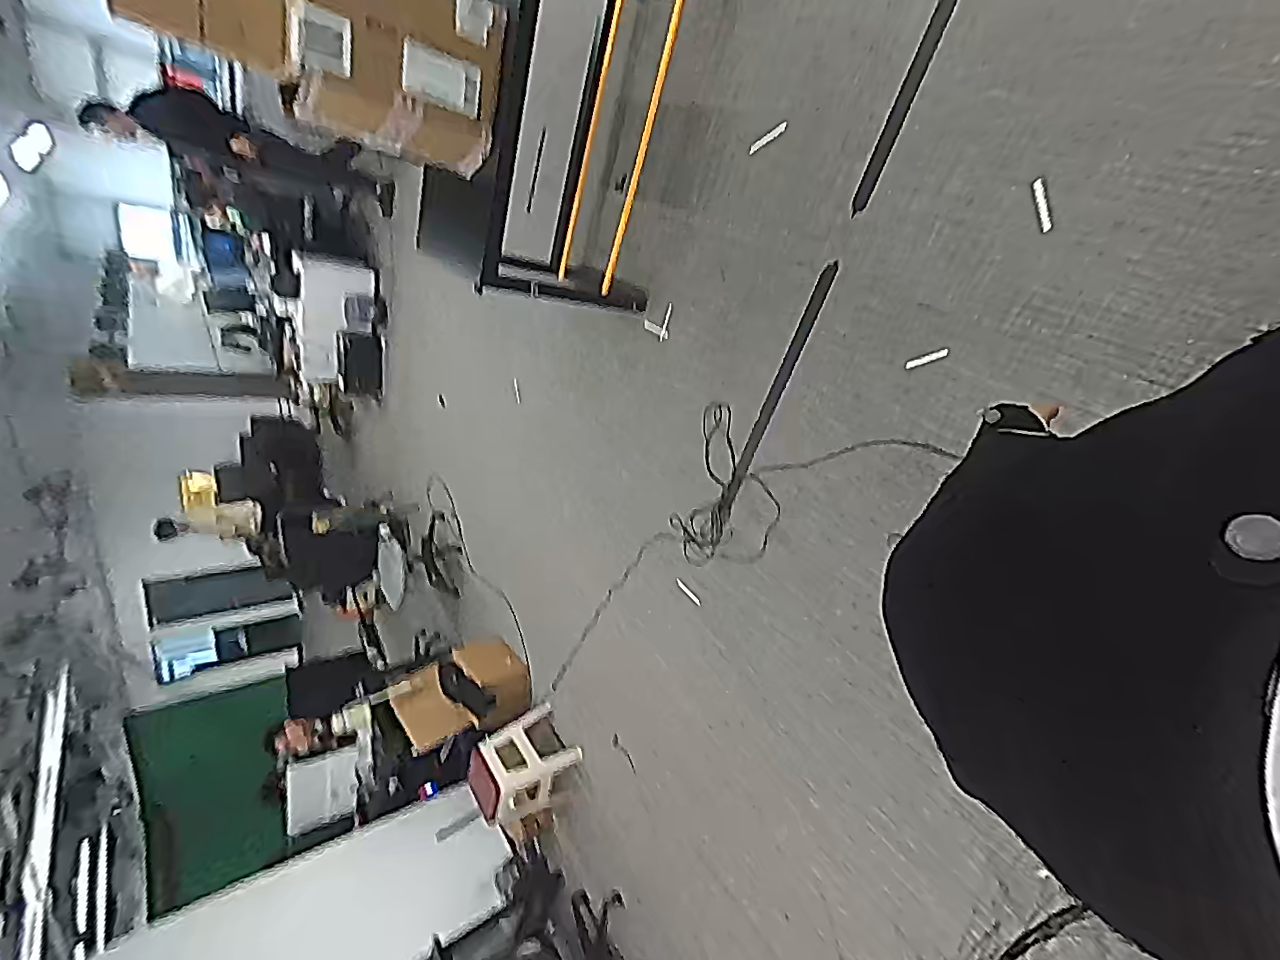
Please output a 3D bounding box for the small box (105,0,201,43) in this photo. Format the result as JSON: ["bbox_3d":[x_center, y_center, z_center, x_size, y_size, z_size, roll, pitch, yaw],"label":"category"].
[{"bbox_3d":[-1.145,-1.176,1.268,0.168,0.176,0.179,36,120,45],"label":"small box"}]

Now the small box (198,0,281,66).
[{"bbox_3d":[-1.021,-1.186,1.375,0.168,0.176,0.179,38,122,42],"label":"small box"}]
